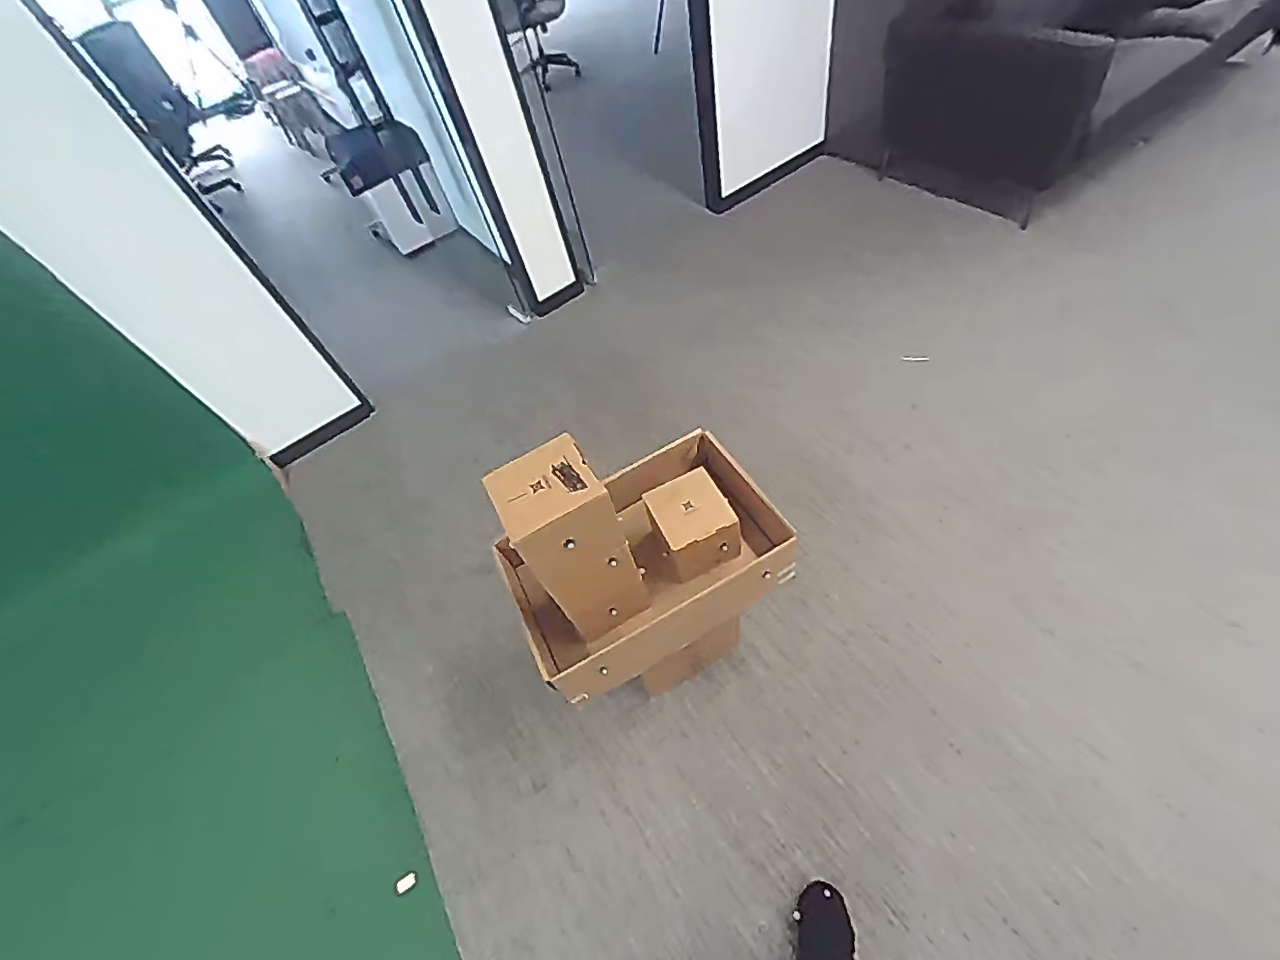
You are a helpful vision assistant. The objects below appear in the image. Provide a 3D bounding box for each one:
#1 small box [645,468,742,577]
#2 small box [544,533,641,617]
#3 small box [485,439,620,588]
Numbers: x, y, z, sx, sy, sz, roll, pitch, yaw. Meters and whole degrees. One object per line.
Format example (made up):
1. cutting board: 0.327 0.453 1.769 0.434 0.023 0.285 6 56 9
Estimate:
1. small box: 0.133 0.110 1.295 0.168 0.176 0.179 -25 53 -5
2. small box: -0.118 0.156 1.123 0.179 0.176 0.168 -28 53 -8
3. small box: -0.150 0.064 0.990 0.179 0.176 0.168 -30 53 -8
